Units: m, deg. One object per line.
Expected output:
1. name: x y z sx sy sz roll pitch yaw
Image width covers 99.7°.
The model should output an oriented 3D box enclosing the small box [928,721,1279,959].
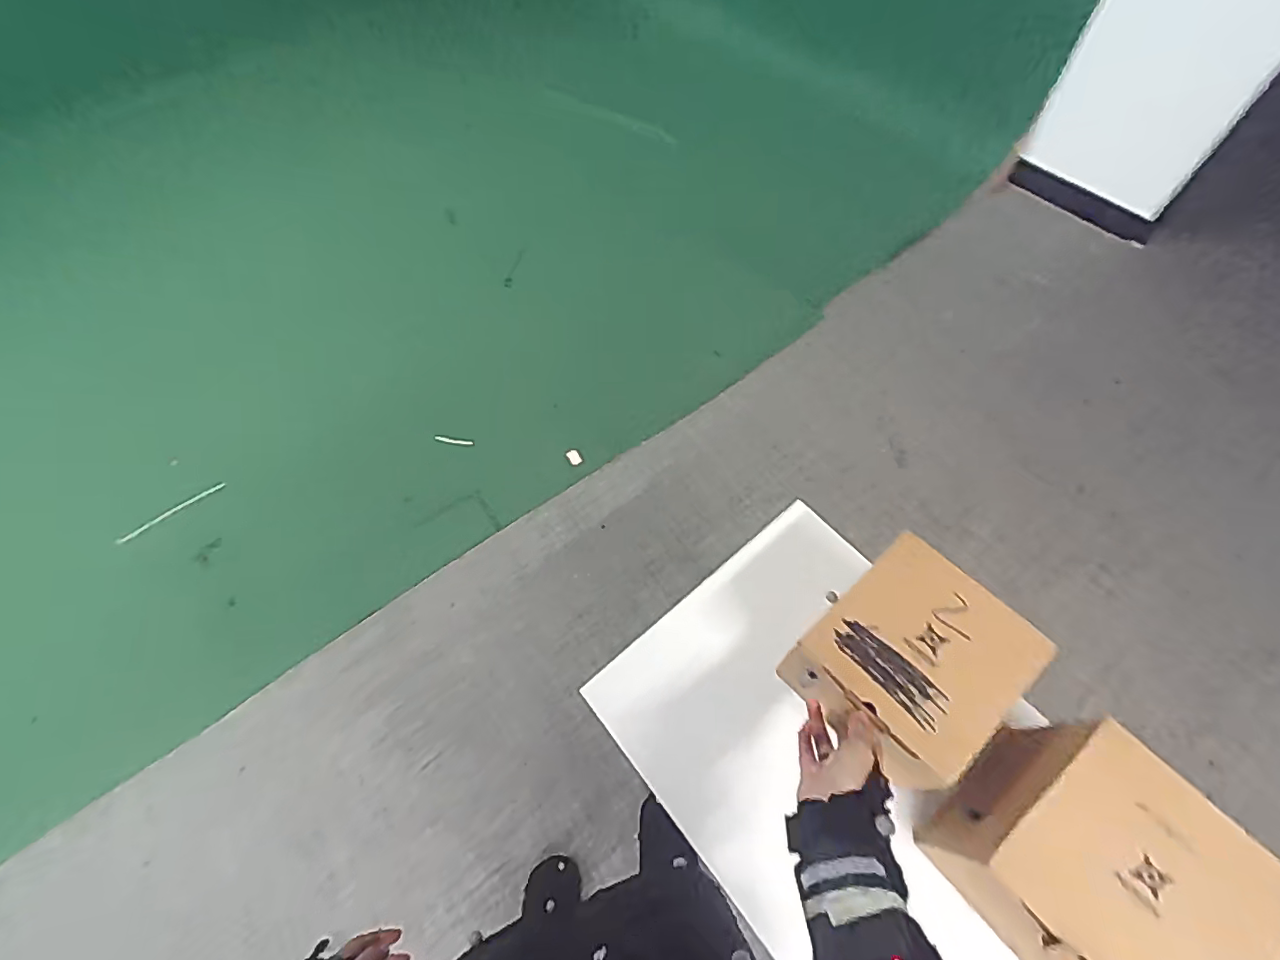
1. small box: 0.396 0.349 0.487 0.179 0.176 0.168 -38 66 -15
